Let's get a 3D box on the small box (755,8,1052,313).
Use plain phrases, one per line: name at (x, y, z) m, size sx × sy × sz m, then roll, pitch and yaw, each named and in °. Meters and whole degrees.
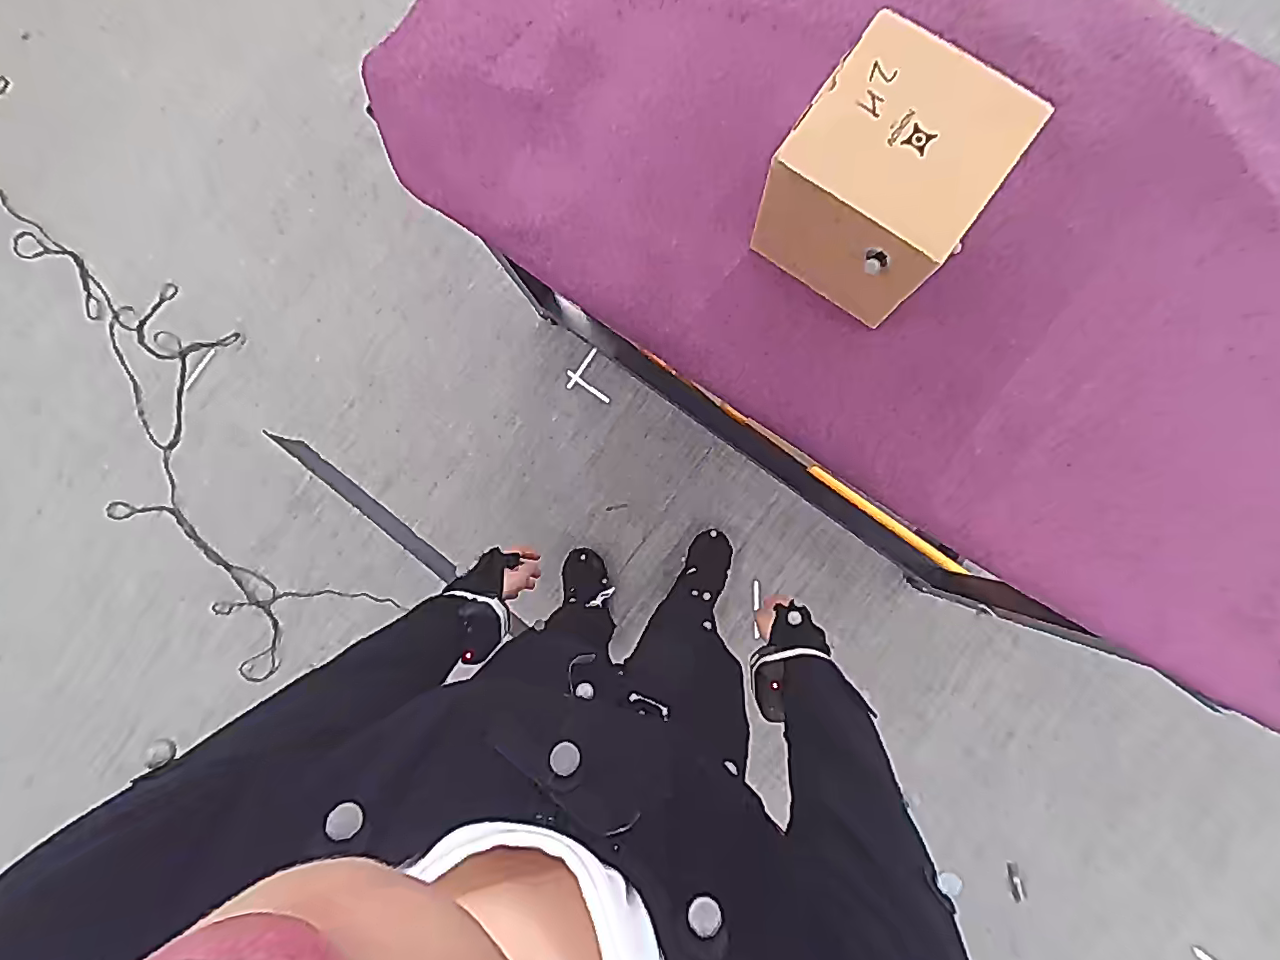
small box at (0.239, -0.294, 0.544) m, size 0.179 × 0.176 × 0.168 m, roll 36°, pitch 89°, yaw 6°
